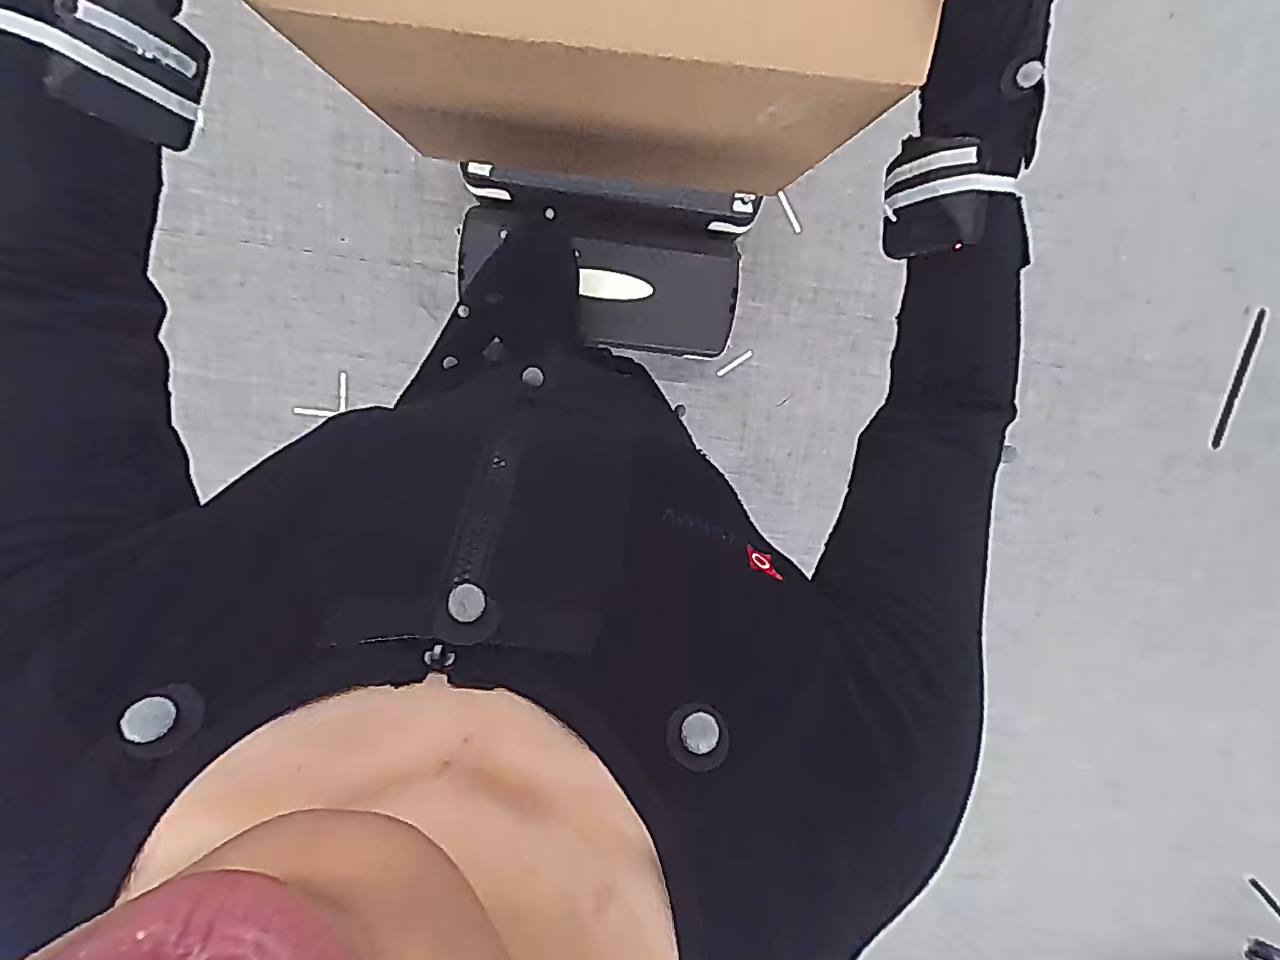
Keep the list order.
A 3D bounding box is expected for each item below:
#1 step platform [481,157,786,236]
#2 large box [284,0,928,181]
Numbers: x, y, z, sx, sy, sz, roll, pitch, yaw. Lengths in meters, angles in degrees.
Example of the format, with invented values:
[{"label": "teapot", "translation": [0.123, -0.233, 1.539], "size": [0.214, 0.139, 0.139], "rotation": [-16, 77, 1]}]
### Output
[{"label": "step platform", "translation": [-0.010, -0.758, 1.222], "size": [0.684, 0.204, 0.286], "rotation": [5, 103, -6]}, {"label": "large box", "translation": [-0.021, -0.460, 0.431], "size": [0.408, 0.320, 0.320], "rotation": [3, 107, -5]}]
